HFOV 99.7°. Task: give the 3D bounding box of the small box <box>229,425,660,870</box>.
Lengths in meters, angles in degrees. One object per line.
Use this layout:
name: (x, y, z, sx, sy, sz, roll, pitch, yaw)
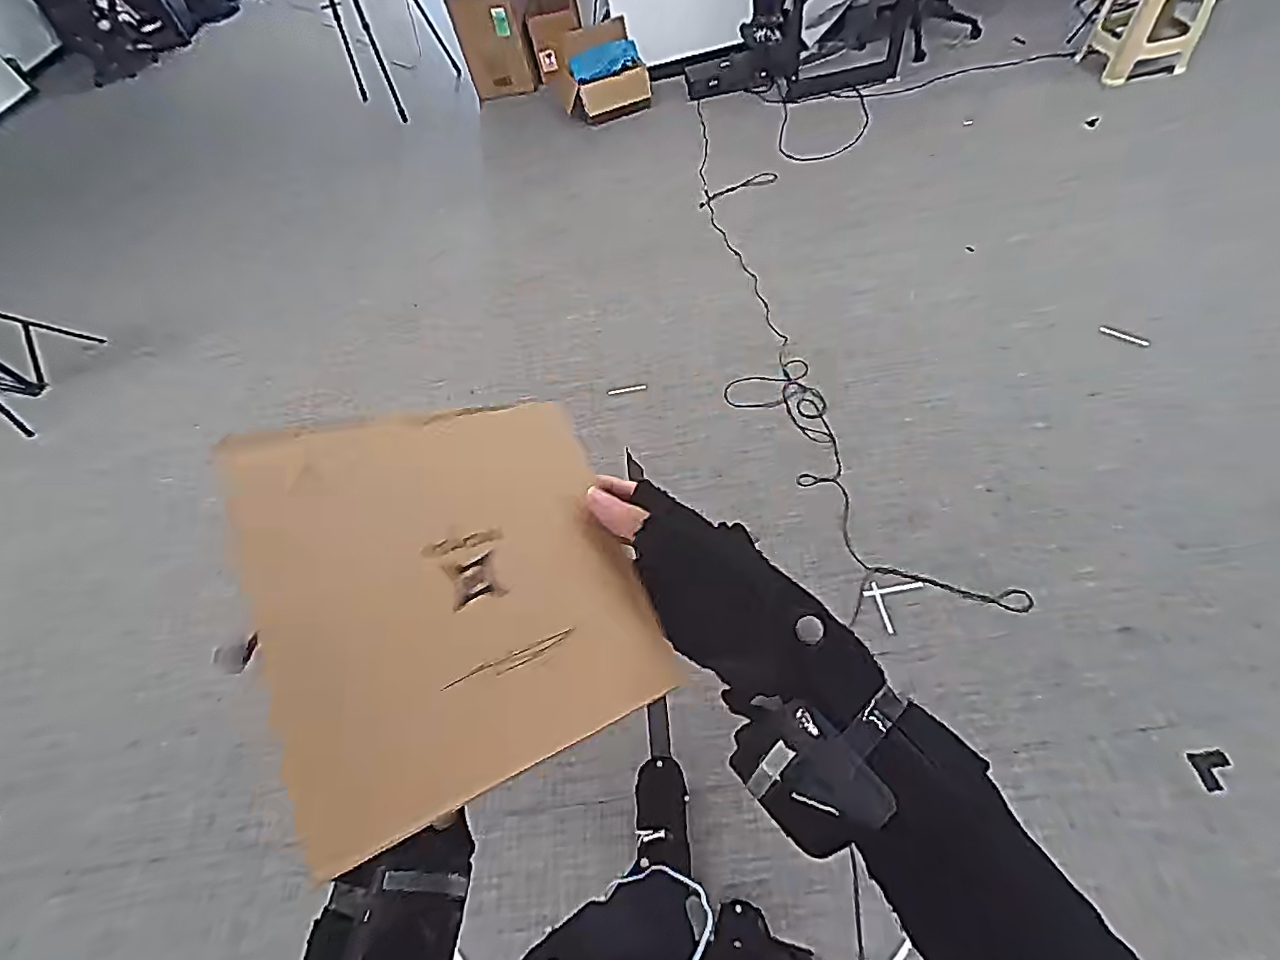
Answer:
small box: (-0.122, 0.093, 0.327, 0.168, 0.176, 0.179, -14, 70, -33)
